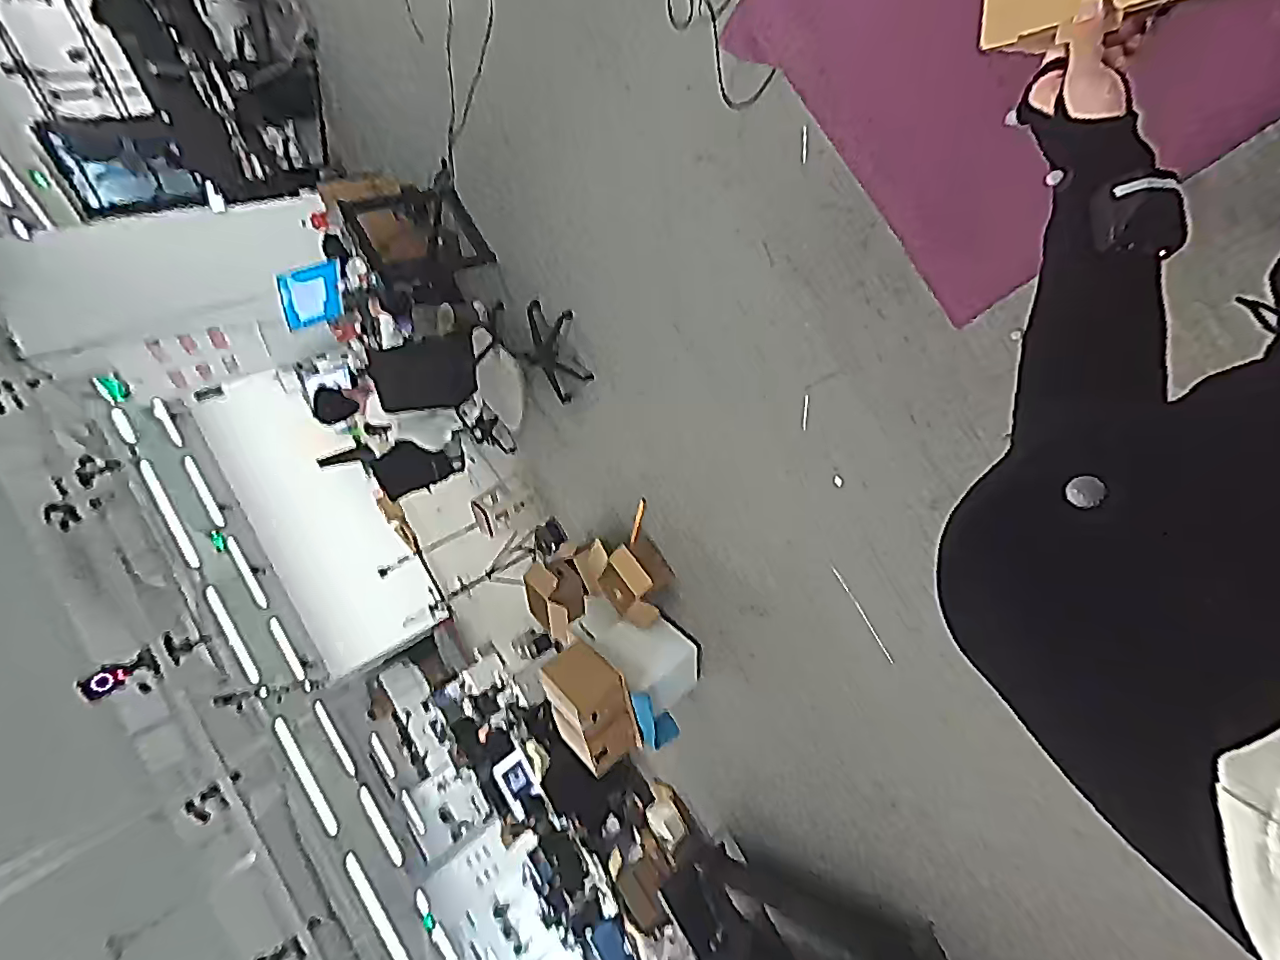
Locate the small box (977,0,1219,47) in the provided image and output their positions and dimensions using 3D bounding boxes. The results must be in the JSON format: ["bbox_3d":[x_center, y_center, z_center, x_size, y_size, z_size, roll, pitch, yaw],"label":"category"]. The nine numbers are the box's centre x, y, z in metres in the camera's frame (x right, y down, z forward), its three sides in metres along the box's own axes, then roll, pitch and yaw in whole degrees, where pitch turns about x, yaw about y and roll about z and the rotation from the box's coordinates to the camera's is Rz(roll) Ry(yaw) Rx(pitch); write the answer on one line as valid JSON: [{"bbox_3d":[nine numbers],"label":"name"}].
[{"bbox_3d":[0.417,-0.496,0.456,0.168,0.176,0.179,21,130,44],"label":"small box"}]
